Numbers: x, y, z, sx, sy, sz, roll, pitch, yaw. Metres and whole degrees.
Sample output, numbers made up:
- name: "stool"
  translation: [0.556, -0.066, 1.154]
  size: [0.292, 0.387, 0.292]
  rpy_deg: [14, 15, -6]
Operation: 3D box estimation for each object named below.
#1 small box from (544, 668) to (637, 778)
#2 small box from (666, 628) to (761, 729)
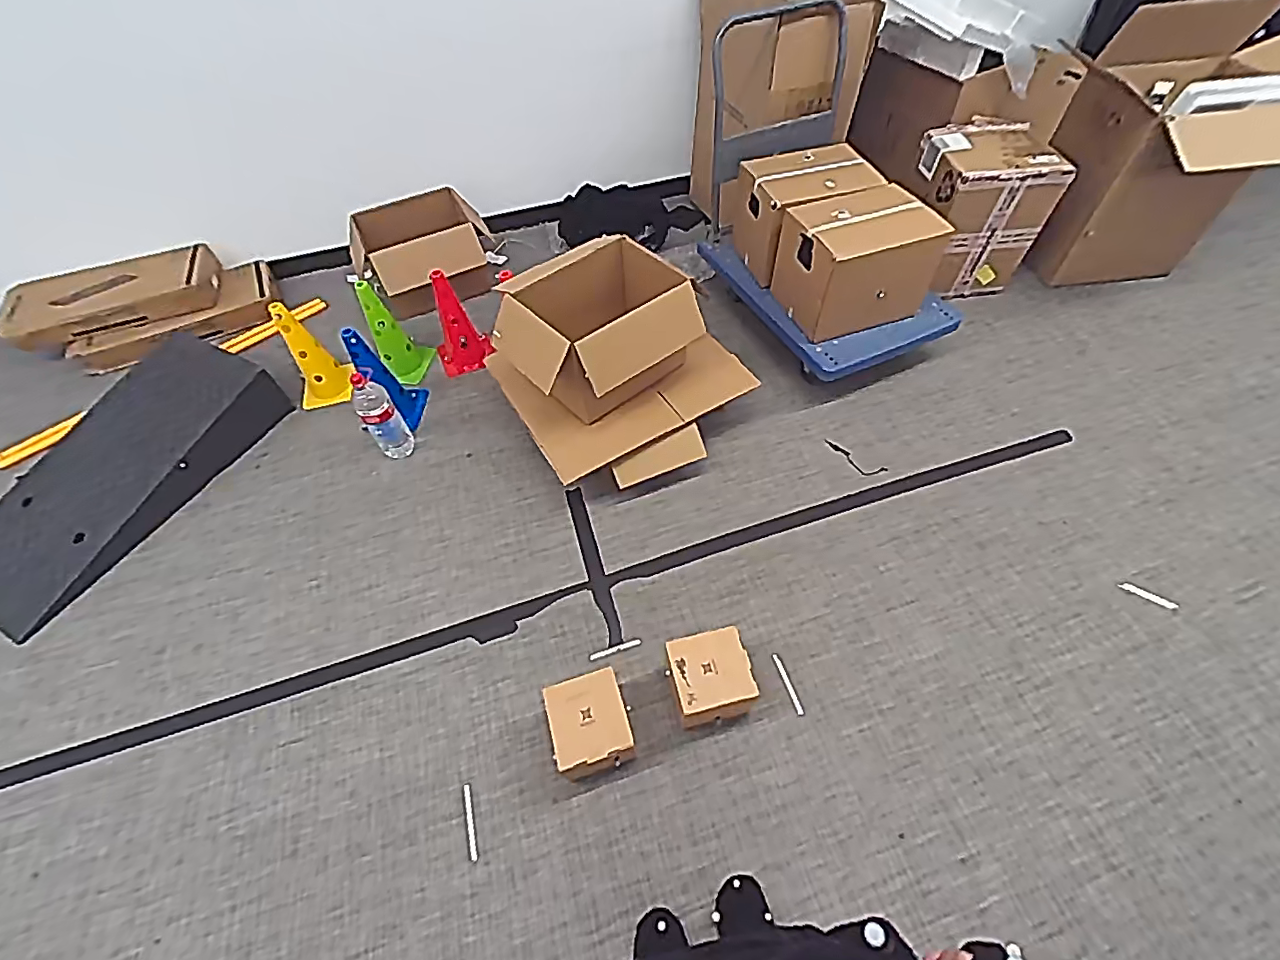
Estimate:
- name: "small box"
  translation: [-0.109, 0.558, 1.229]
  size: [0.168, 0.176, 0.179]
  rpy_deg: [-16, 55, -10]
- name: "small box"
  translation: [0.165, 0.472, 1.279]
  size: [0.179, 0.176, 0.168]
  rpy_deg: [-11, 56, -7]
